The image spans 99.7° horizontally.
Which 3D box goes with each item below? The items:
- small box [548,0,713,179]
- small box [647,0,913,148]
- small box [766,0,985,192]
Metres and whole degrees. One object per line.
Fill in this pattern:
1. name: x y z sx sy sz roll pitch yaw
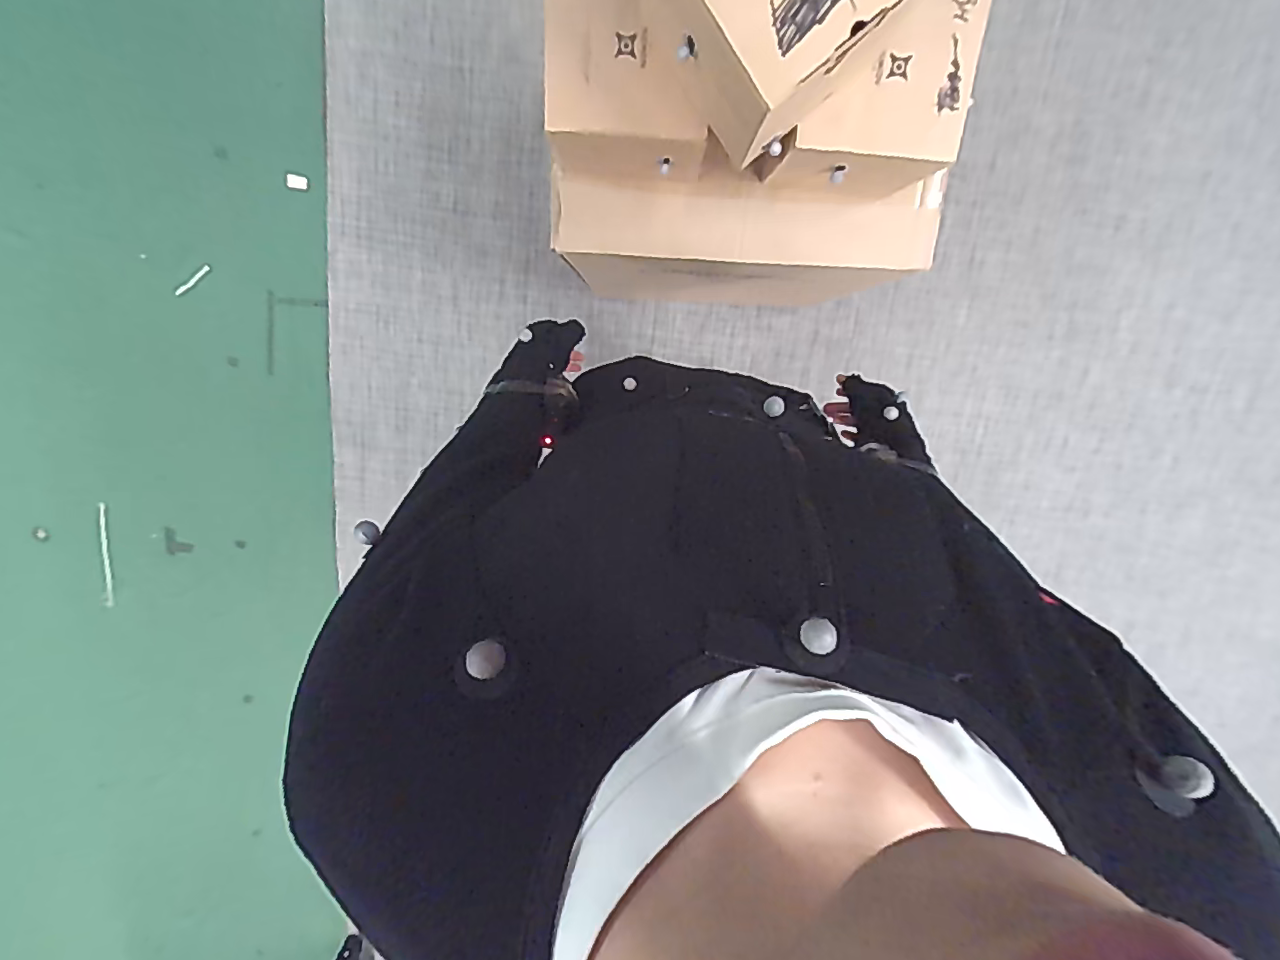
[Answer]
1. small box: -0.006 -0.465 0.629 0.179 0.176 0.168 3 105 1
2. small box: 0.118 -0.425 0.468 0.168 0.176 0.179 -36 101 10
3. small box: 0.255 -0.448 0.630 0.179 0.176 0.168 5 107 1
